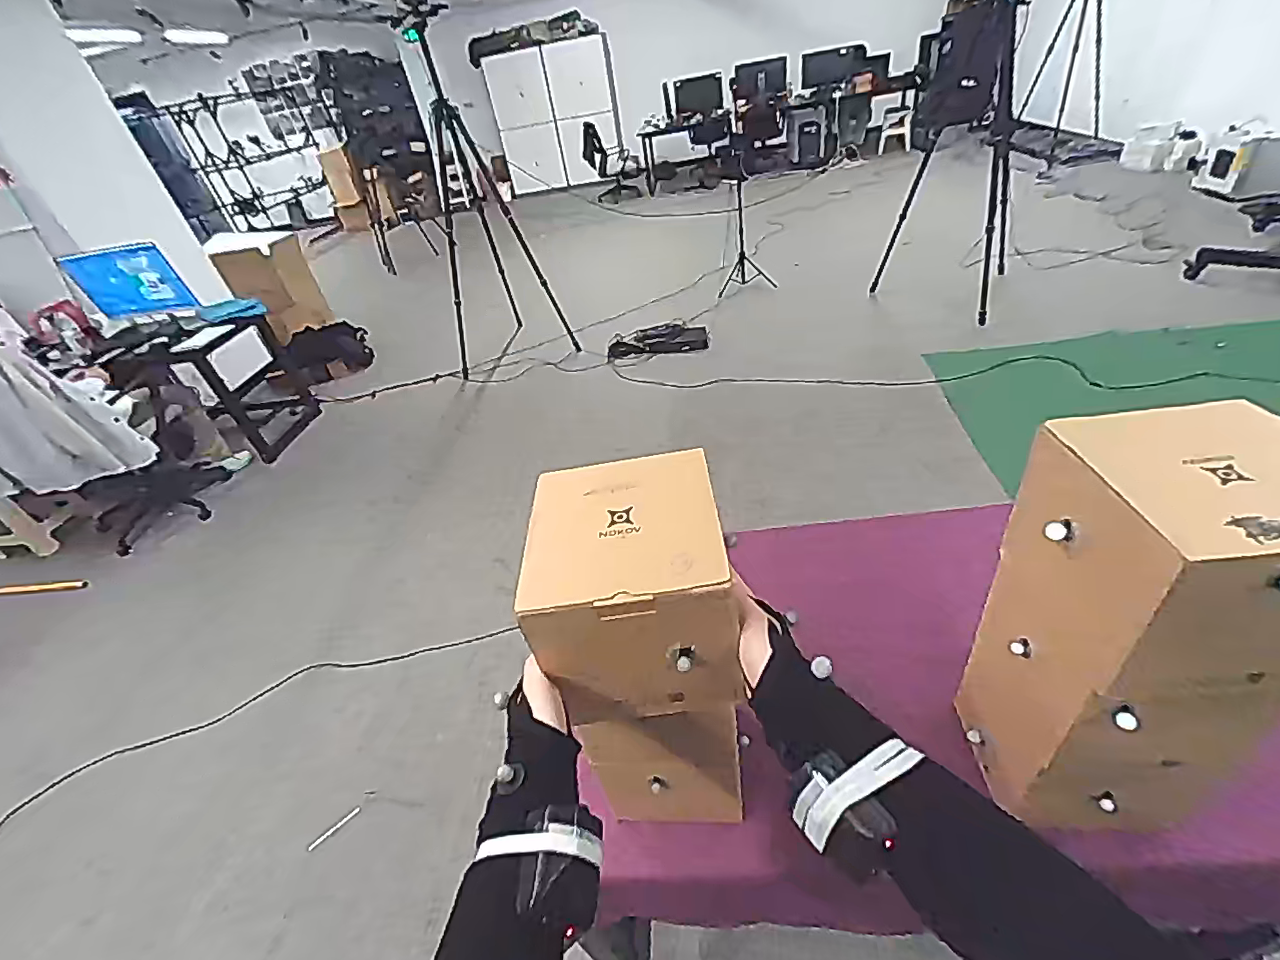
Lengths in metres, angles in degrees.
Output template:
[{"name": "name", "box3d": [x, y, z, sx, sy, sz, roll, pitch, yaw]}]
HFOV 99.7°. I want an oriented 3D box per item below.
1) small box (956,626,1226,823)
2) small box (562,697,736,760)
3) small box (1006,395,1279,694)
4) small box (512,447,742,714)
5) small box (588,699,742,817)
[{"name": "small box", "box3d": [0.521, 0.297, 0.662, 0.179, 0.176, 0.168, -6, 38, 10]}, {"name": "small box", "box3d": [0.020, 0.212, 0.640, 0.179, 0.176, 0.168, -6, 38, 10]}, {"name": "small box", "box3d": [0.447, 0.051, 0.455, 0.168, 0.176, 0.179, -8, 36, 7]}, {"name": "small box", "box3d": [-0.003, 0.097, 0.503, 0.168, 0.176, 0.179, -9, 38, 5]}, {"name": "small box", "box3d": [0.042, 0.340, 0.739, 0.179, 0.176, 0.168, -5, 39, 9]}]
